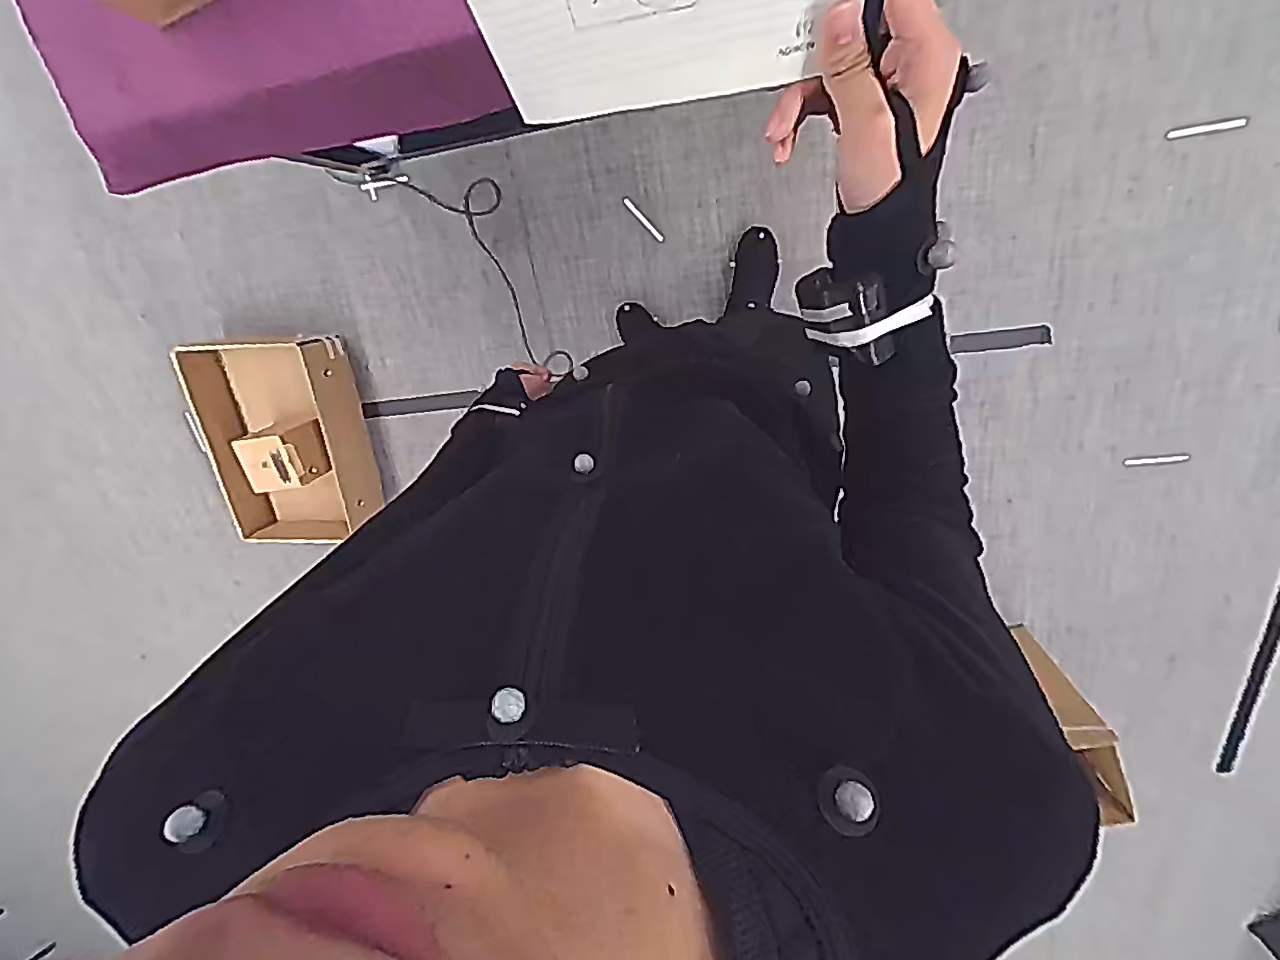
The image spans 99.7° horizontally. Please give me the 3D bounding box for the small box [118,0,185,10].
[{"bbox_3d":[-0.591,-0.664,0.592,0.168,0.176,0.179,-13,111,12],"label":"small box"}]
